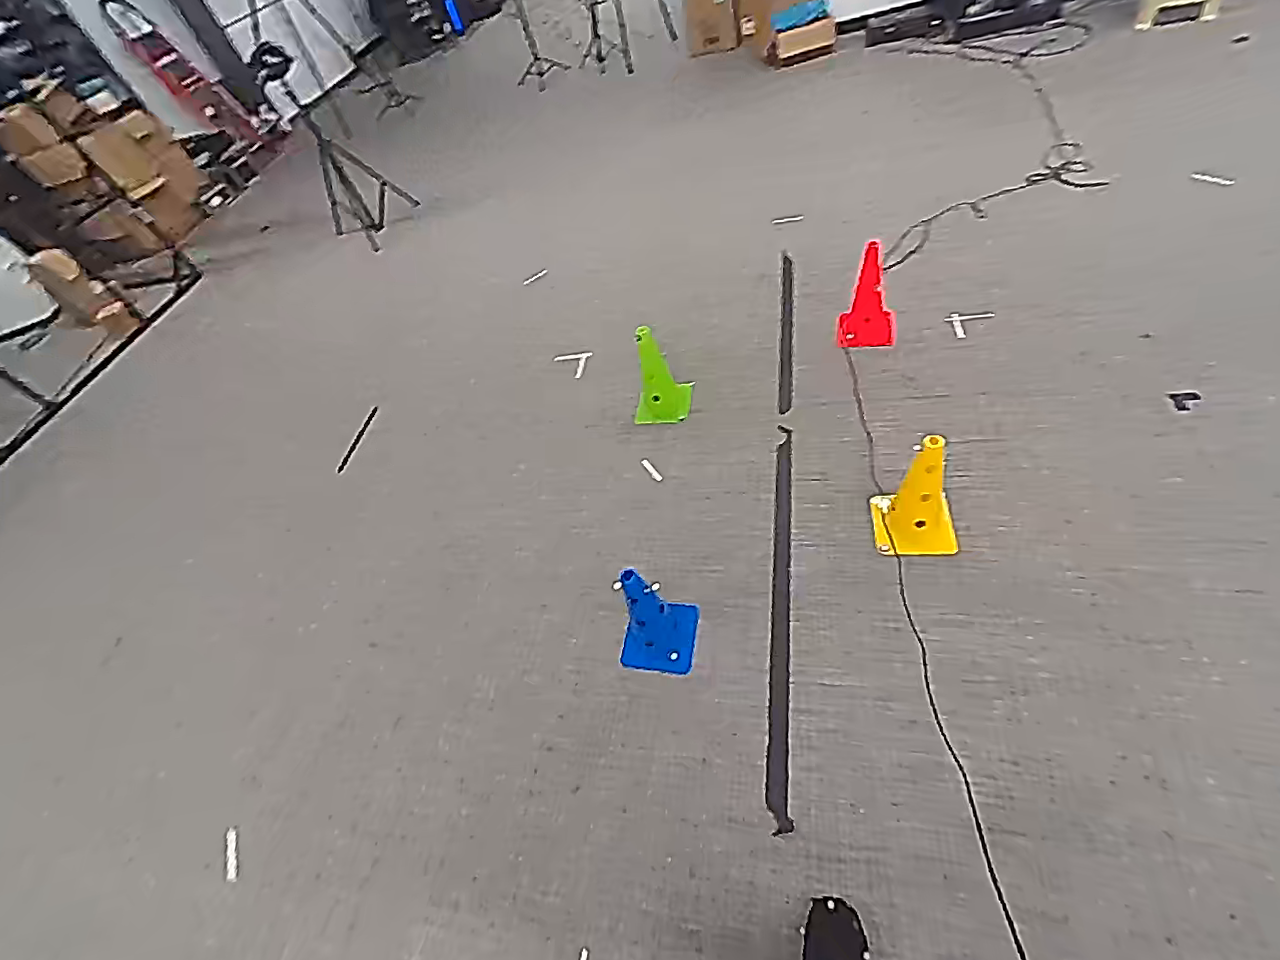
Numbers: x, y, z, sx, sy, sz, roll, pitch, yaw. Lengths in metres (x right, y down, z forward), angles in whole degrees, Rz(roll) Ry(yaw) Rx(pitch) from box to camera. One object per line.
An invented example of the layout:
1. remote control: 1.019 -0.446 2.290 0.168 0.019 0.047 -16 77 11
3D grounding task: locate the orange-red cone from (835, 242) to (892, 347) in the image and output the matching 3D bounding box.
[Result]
1. orange-red cone: 0.811 -0.673 1.922 0.199 0.360 0.198 4 55 19

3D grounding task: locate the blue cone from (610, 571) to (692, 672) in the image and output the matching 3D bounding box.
1. blue cone: 0.003 0.337 1.386 0.192 0.380 0.193 2 53 20

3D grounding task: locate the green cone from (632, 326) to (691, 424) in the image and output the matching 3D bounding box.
1. green cone: 0.045 -0.397 1.938 0.202 0.368 0.200 -1 52 18
